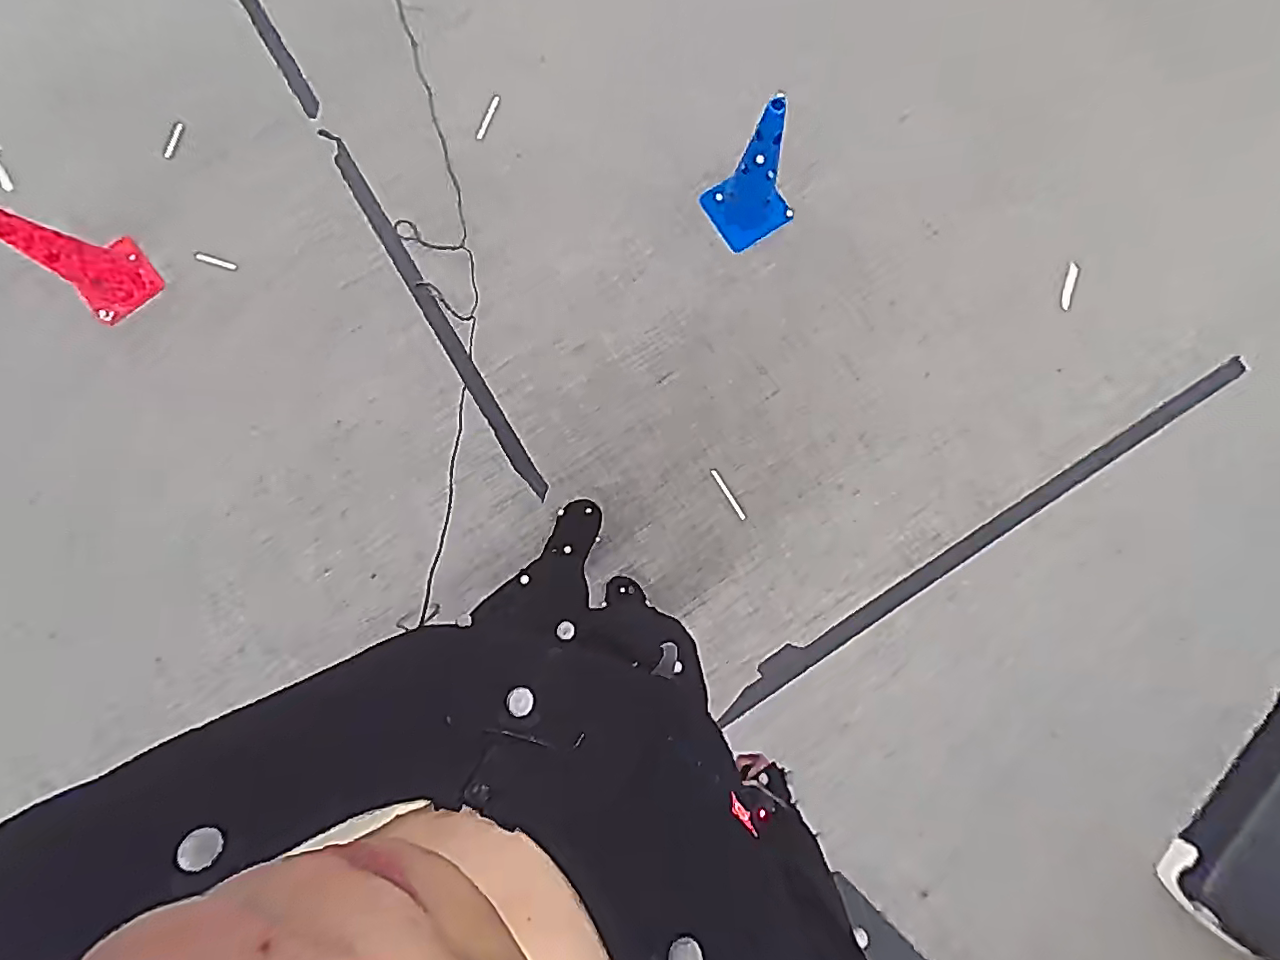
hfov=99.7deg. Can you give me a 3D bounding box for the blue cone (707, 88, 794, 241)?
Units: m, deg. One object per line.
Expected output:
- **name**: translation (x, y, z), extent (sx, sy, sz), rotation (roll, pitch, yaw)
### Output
- **blue cone**: translation (0.297, -0.781, 1.317), extent (0.192, 0.380, 0.193), rotation (-31, 84, -4)

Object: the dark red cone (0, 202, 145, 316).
- **dark red cone**: translation (-1.452, -0.582, 1.292), extent (0.201, 0.394, 0.202), rotation (-39, 84, -5)
